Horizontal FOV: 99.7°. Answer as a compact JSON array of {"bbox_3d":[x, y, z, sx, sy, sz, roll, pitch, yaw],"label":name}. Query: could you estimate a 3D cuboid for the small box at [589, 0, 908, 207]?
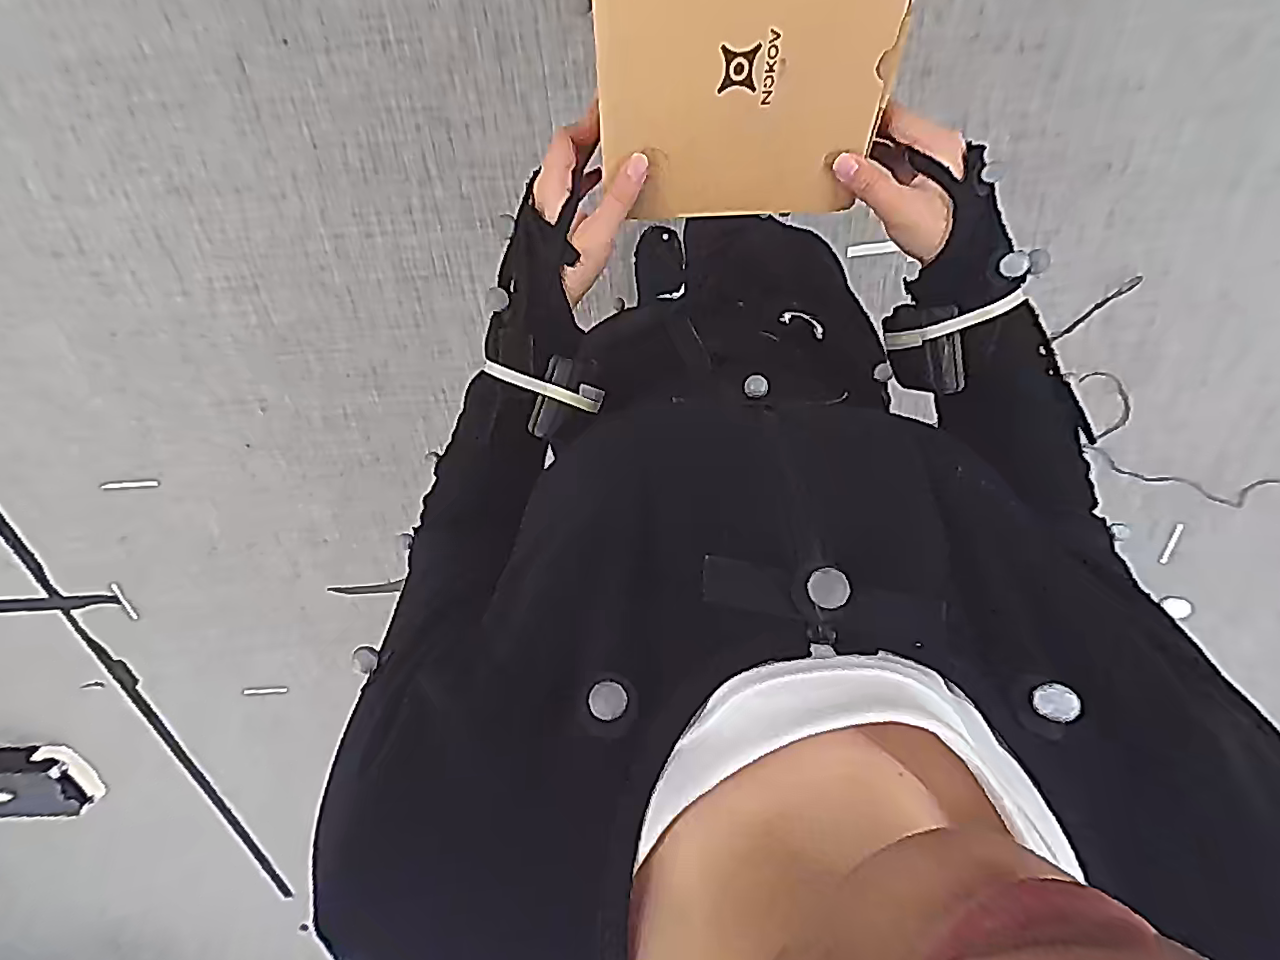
[{"bbox_3d":[0.055,-0.302,0.361,0.179,0.176,0.168,-4,139,-2],"label":"small box"}]
